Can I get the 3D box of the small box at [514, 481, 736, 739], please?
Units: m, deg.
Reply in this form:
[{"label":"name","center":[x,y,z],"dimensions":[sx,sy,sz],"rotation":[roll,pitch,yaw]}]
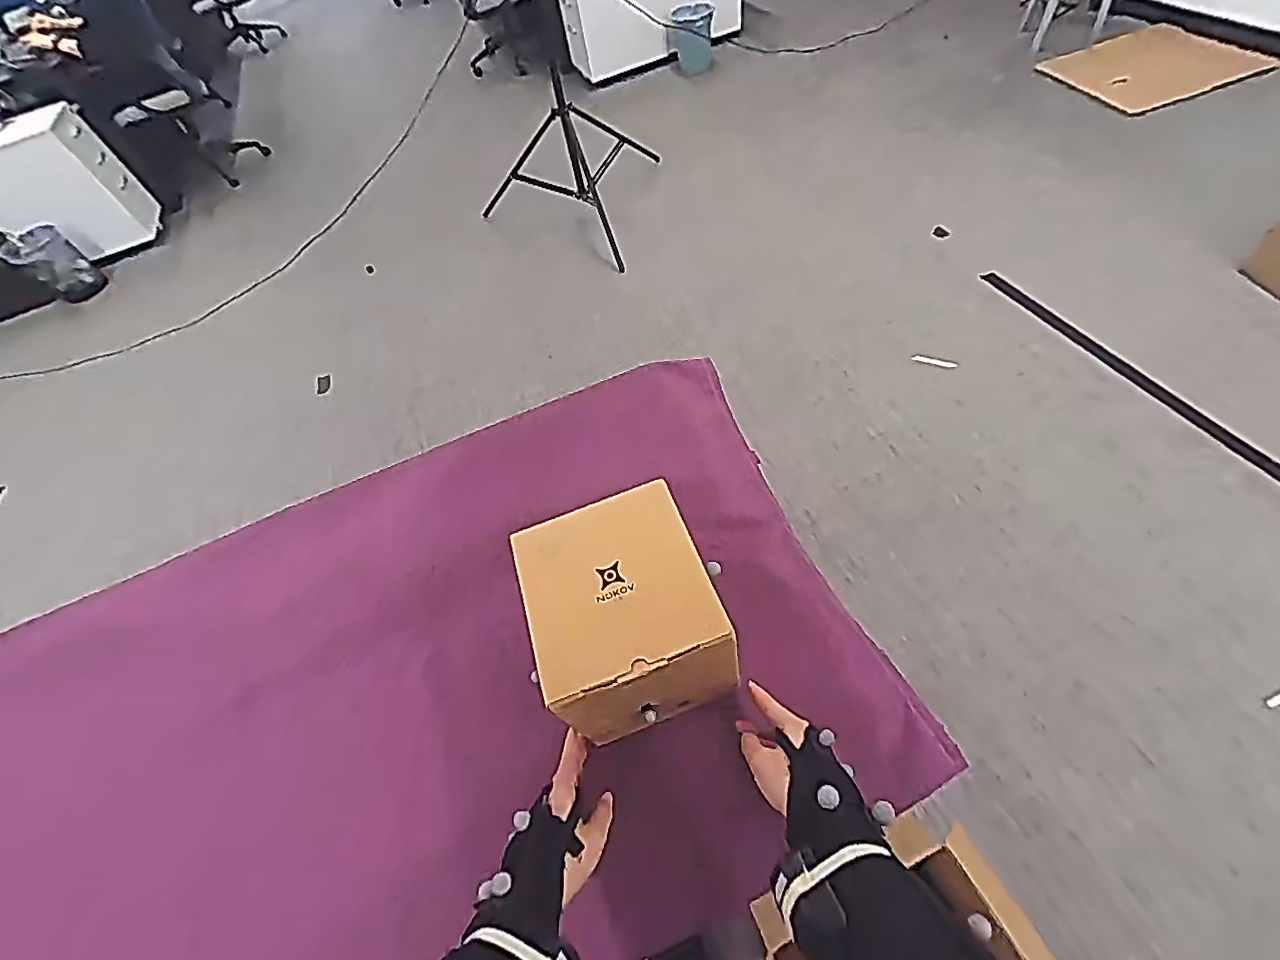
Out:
[{"label":"small box","center":[-0.011,0.137,0.555],"dimensions":[0.168,0.176,0.179],"rotation":[-21,54,-3]}]
